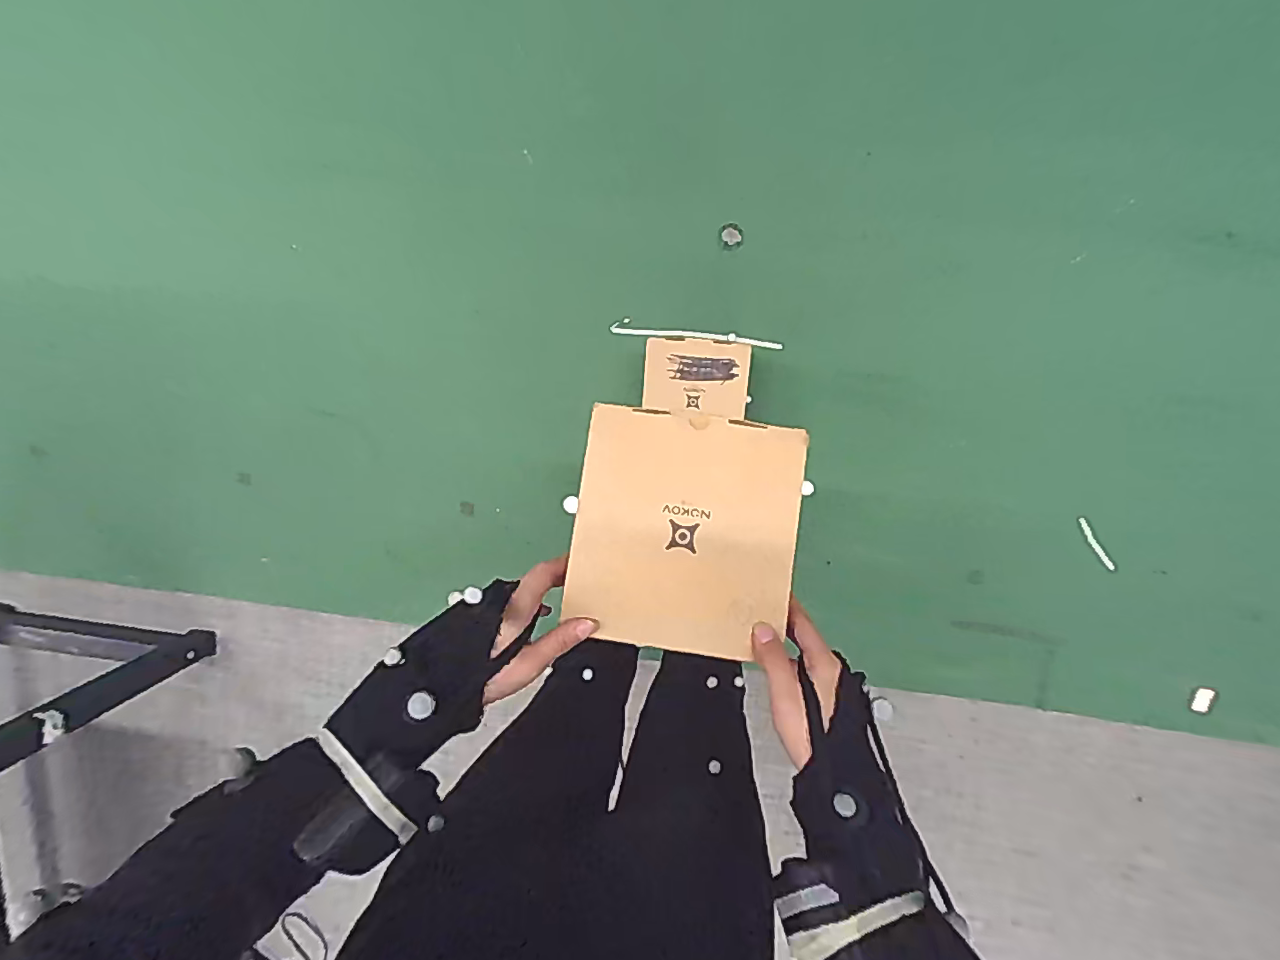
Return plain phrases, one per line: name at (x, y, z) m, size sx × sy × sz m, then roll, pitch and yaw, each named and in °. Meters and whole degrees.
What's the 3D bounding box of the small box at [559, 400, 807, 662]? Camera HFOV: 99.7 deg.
small box at (0.036, 0.043, 0.479) m, size 0.168 × 0.176 × 0.179 m, roll 8°, pitch 84°, yaw 3°
